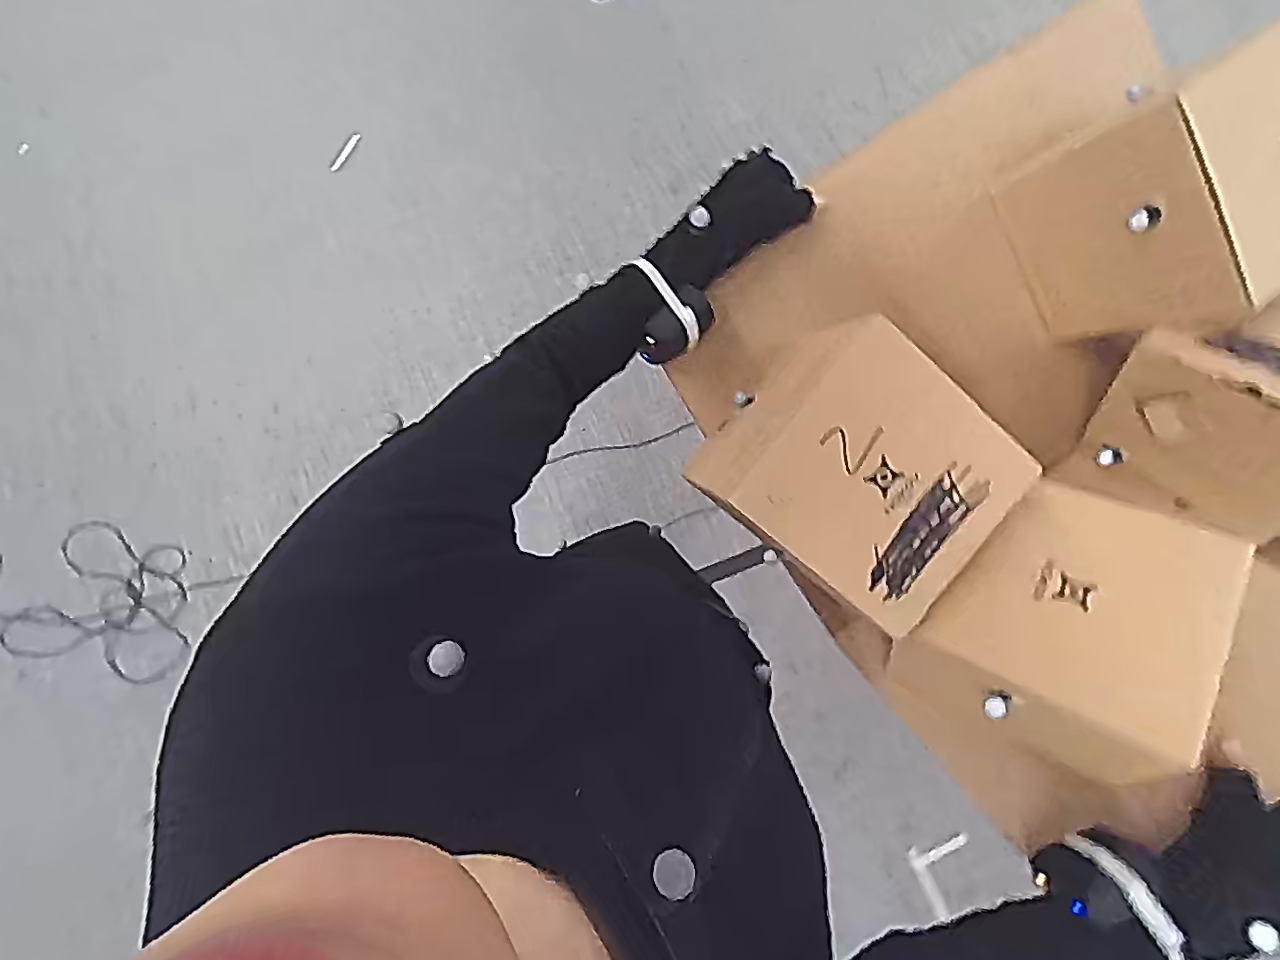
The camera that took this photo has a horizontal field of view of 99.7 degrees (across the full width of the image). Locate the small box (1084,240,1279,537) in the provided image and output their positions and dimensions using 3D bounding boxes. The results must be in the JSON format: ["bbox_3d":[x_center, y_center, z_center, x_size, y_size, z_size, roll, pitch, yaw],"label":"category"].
[{"bbox_3d":[0.564,-0.078,0.500,0.179,0.176,0.168,-32,53,-5],"label":"small box"}]
